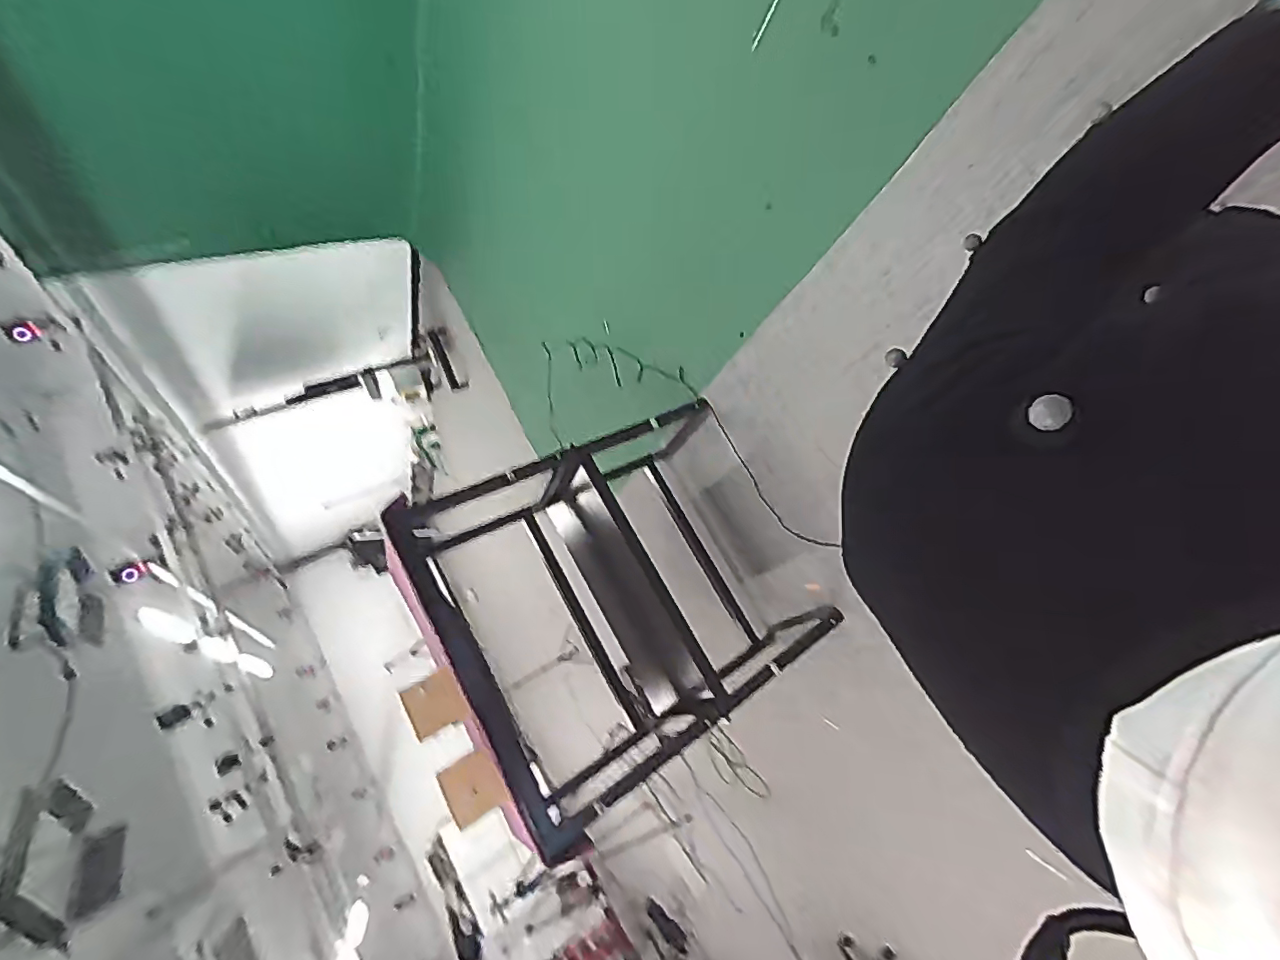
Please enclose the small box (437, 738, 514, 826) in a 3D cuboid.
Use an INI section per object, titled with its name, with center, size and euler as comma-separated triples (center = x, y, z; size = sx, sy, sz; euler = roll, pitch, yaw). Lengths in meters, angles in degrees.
[small box]
center = -0.517, 0.935, 1.693
size = 0.179, 0.176, 0.168
euler = 60, 151, 10
